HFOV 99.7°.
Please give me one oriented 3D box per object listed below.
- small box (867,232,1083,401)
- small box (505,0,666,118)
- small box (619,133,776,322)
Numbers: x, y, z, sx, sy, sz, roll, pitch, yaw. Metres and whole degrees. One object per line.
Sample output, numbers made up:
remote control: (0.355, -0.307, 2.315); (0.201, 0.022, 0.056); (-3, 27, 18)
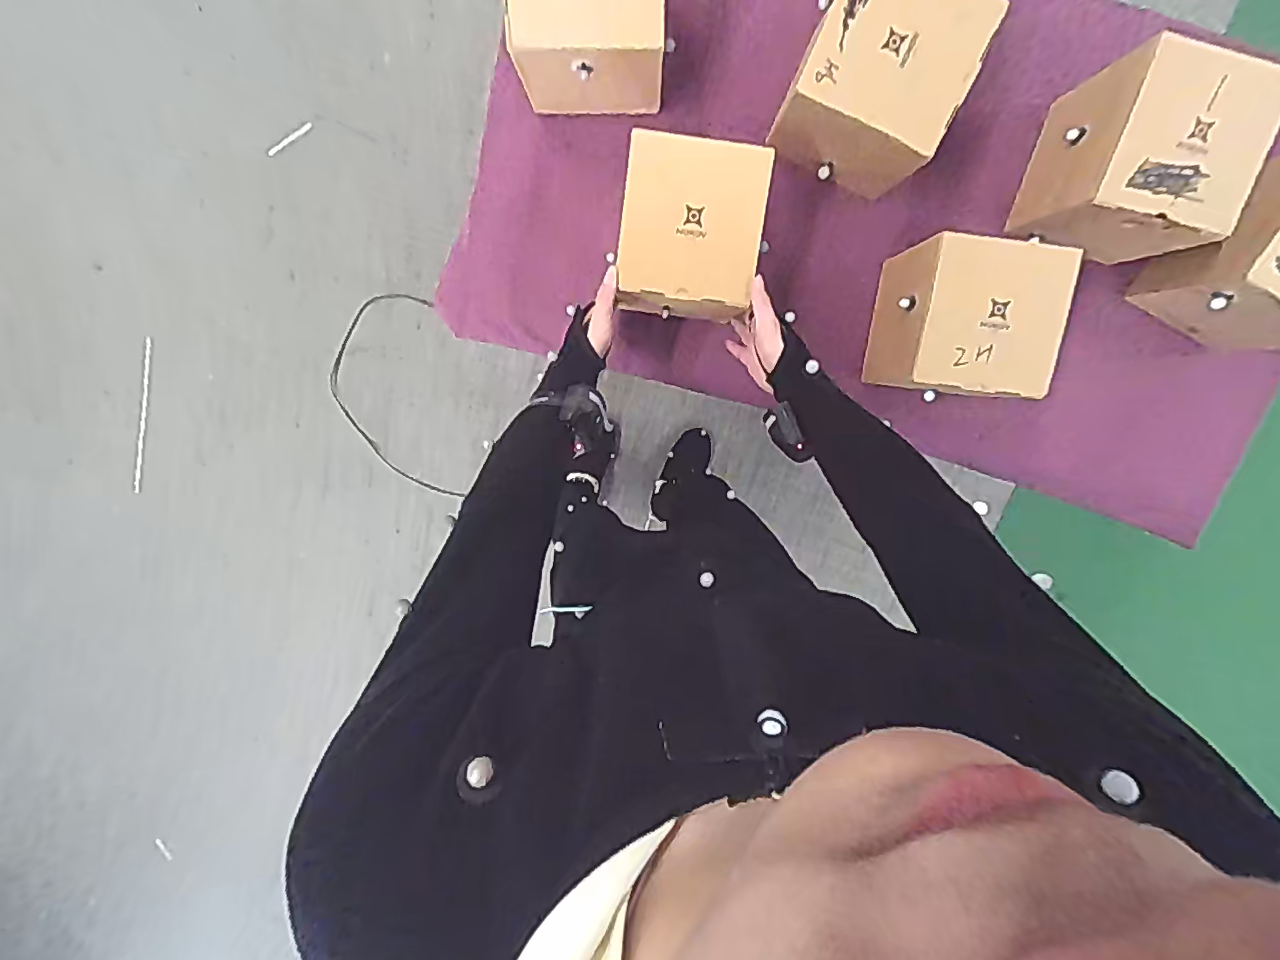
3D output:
small box: (0.422, -0.205, 0.716); (0.168, 0.176, 0.179); (8, 101, 1)
small box: (-0.057, -0.565, 0.656); (0.179, 0.176, 0.168); (1, 103, 1)
small box: (0.063, -0.311, 0.703); (0.168, 0.176, 0.179); (7, 101, -2)
